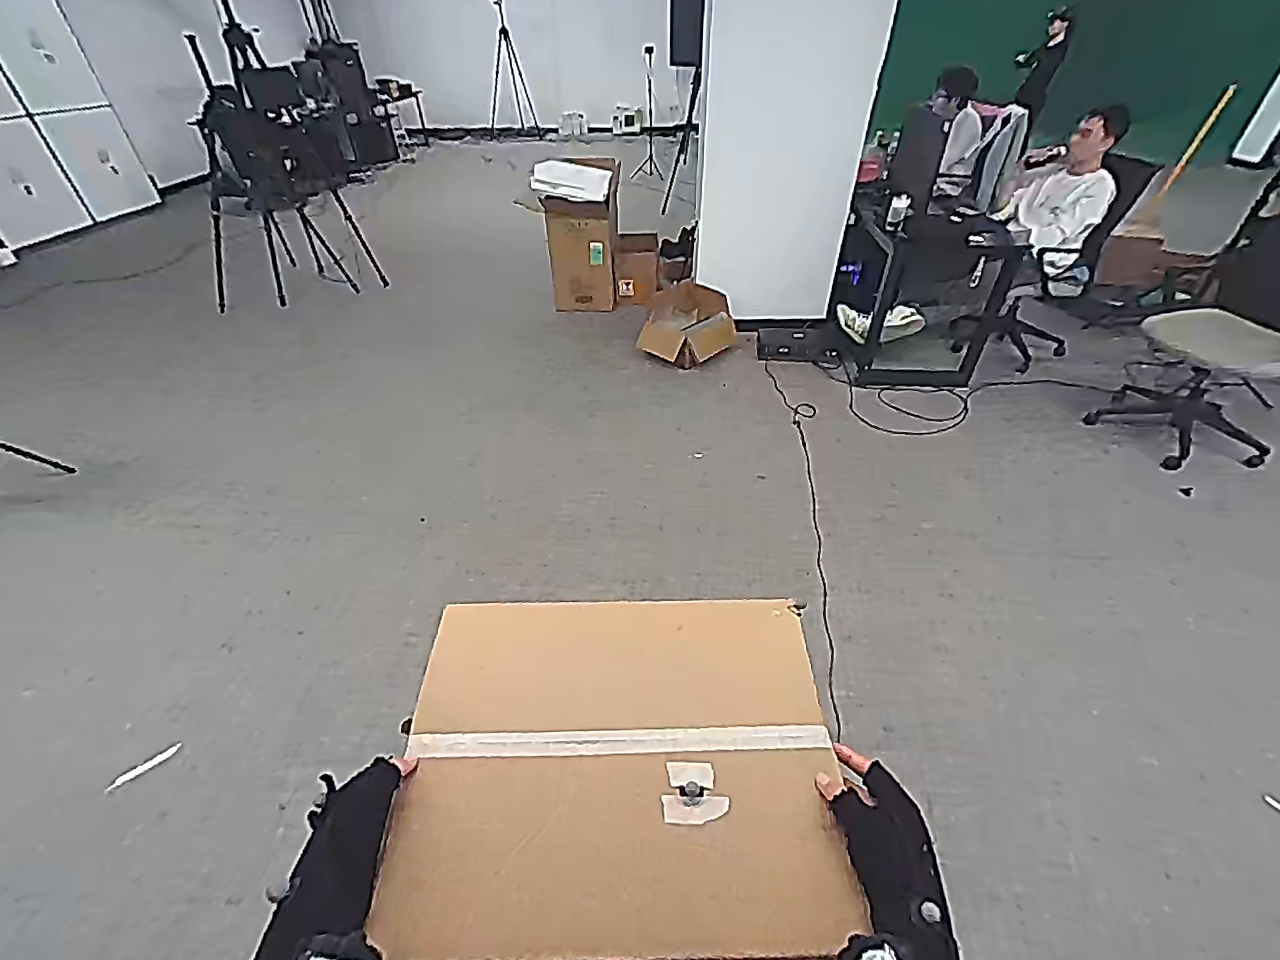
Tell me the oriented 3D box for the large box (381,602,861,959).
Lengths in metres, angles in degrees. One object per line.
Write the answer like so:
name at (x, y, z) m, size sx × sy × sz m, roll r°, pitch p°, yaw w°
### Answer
large box at (-0.020, 0.364, 0.649) m, size 0.408 × 0.320 × 0.320 m, roll 0°, pitch 46°, yaw -1°
